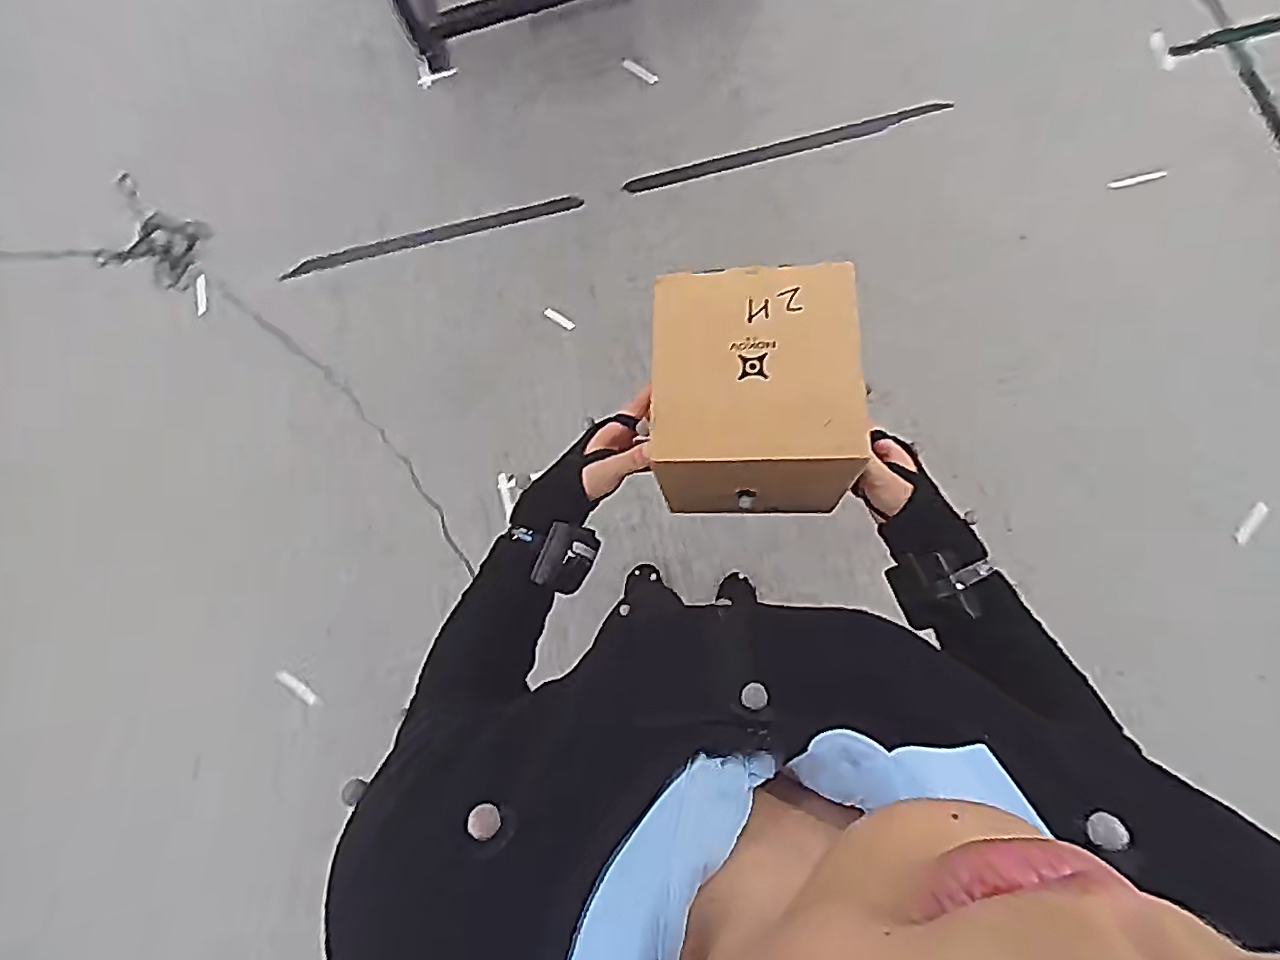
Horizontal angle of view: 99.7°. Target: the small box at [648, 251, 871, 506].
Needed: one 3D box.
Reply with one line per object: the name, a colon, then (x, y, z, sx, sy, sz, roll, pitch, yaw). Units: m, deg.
small box: (0.103, -0.077, 0.497, 0.168, 0.176, 0.179, -1, 72, 9)
